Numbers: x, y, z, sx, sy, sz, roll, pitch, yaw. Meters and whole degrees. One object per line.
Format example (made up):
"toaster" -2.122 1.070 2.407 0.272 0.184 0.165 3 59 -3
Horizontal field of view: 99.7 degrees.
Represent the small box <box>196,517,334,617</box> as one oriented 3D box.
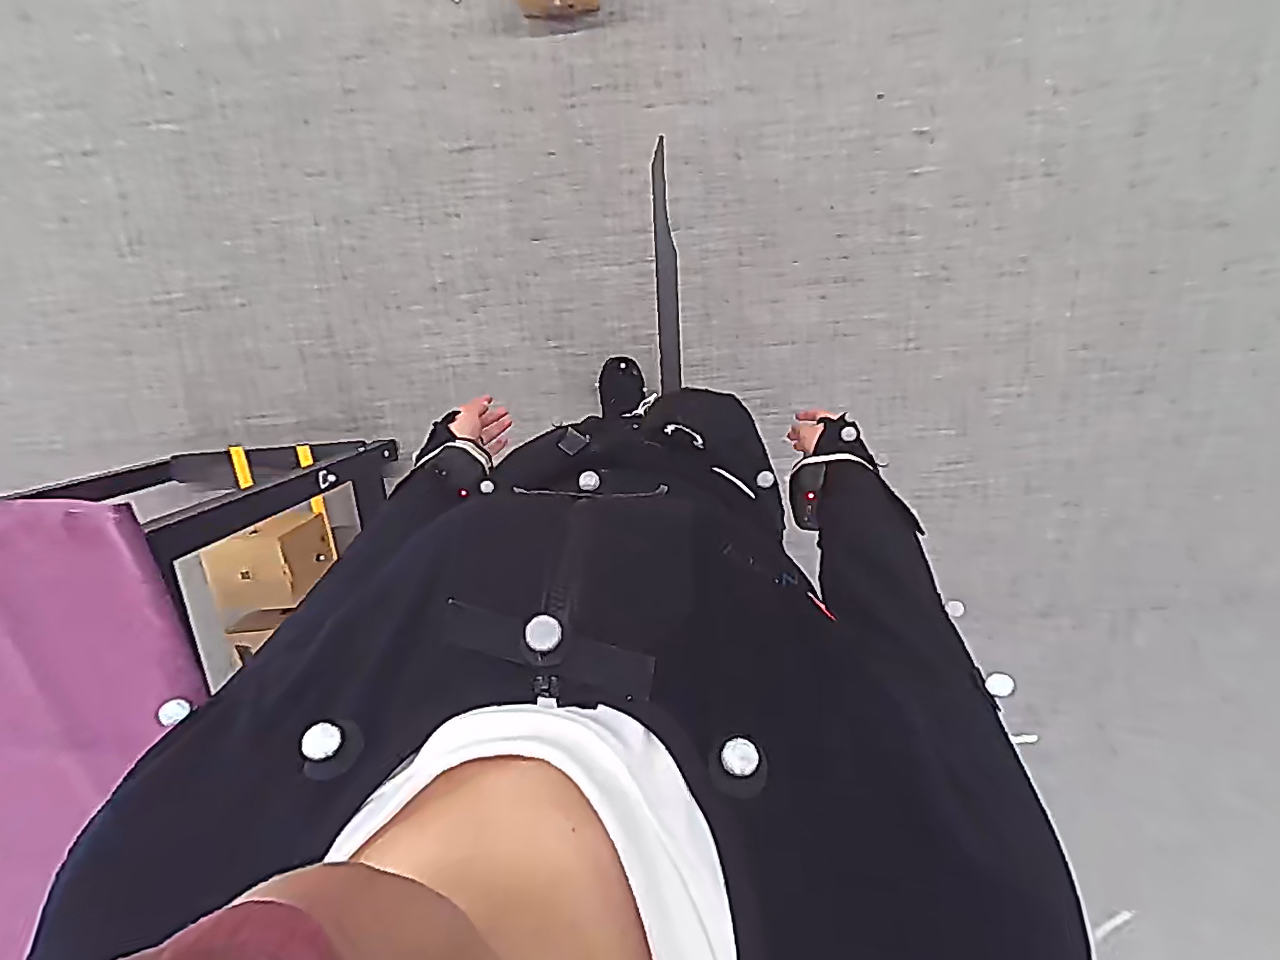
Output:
"small box" -0.827 0.188 1.210 0.179 0.176 0.168 -5 104 0
